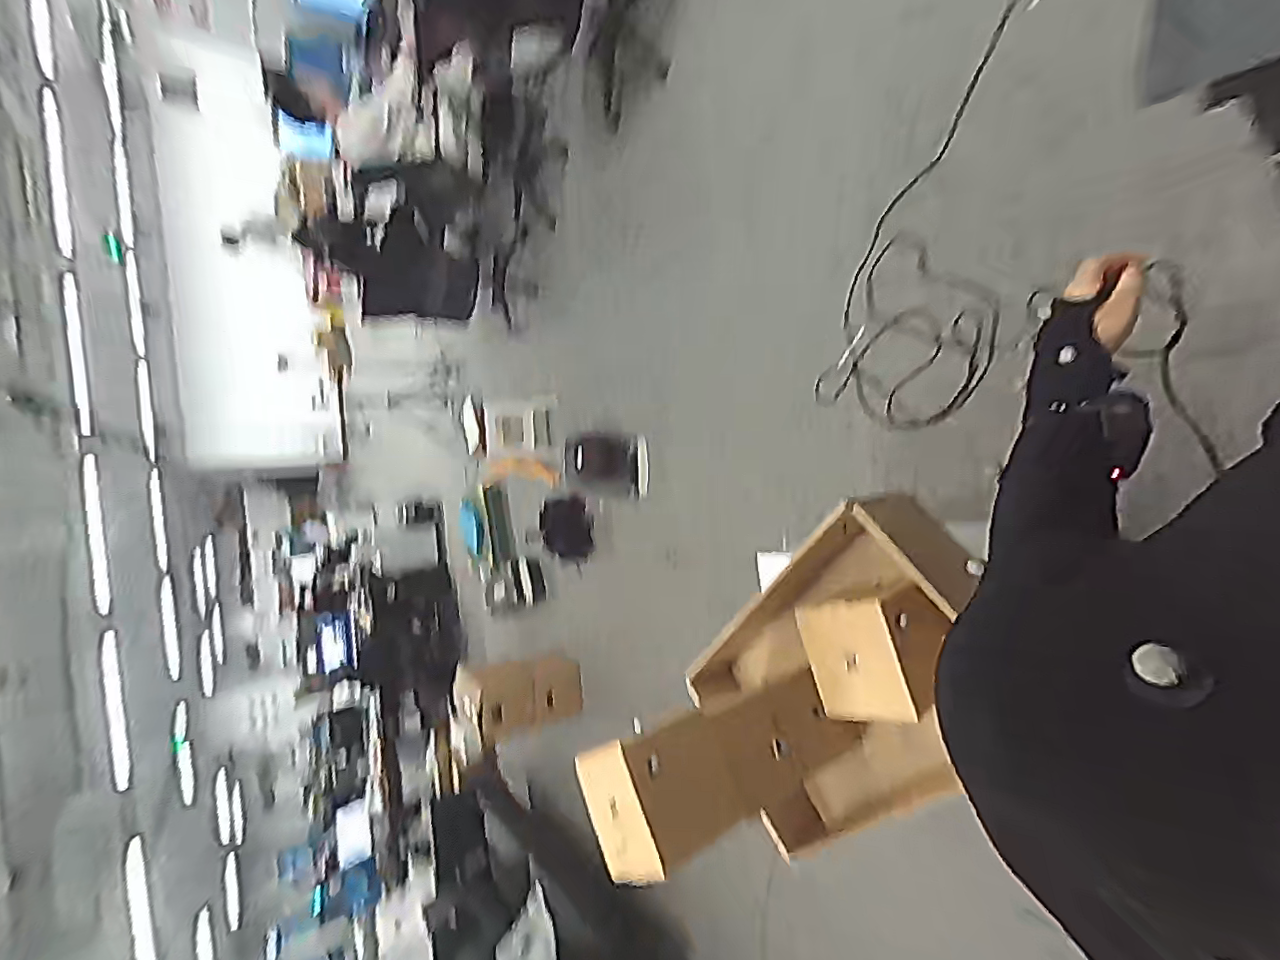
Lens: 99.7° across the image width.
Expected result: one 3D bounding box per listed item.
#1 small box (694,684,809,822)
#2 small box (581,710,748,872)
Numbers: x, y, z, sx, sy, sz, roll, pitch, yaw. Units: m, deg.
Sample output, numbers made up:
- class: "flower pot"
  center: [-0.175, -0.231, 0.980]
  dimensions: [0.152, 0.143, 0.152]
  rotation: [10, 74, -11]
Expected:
- class: "small box"
  center: [0.164, 0.487, 0.970]
  dimensions: [0.179, 0.176, 0.168]
  rotation: [-43, 63, 46]
- class: "small box"
  center: [0.037, 0.487, 0.864]
  dimensions: [0.168, 0.176, 0.179]
  rotation: [-48, 59, 46]
